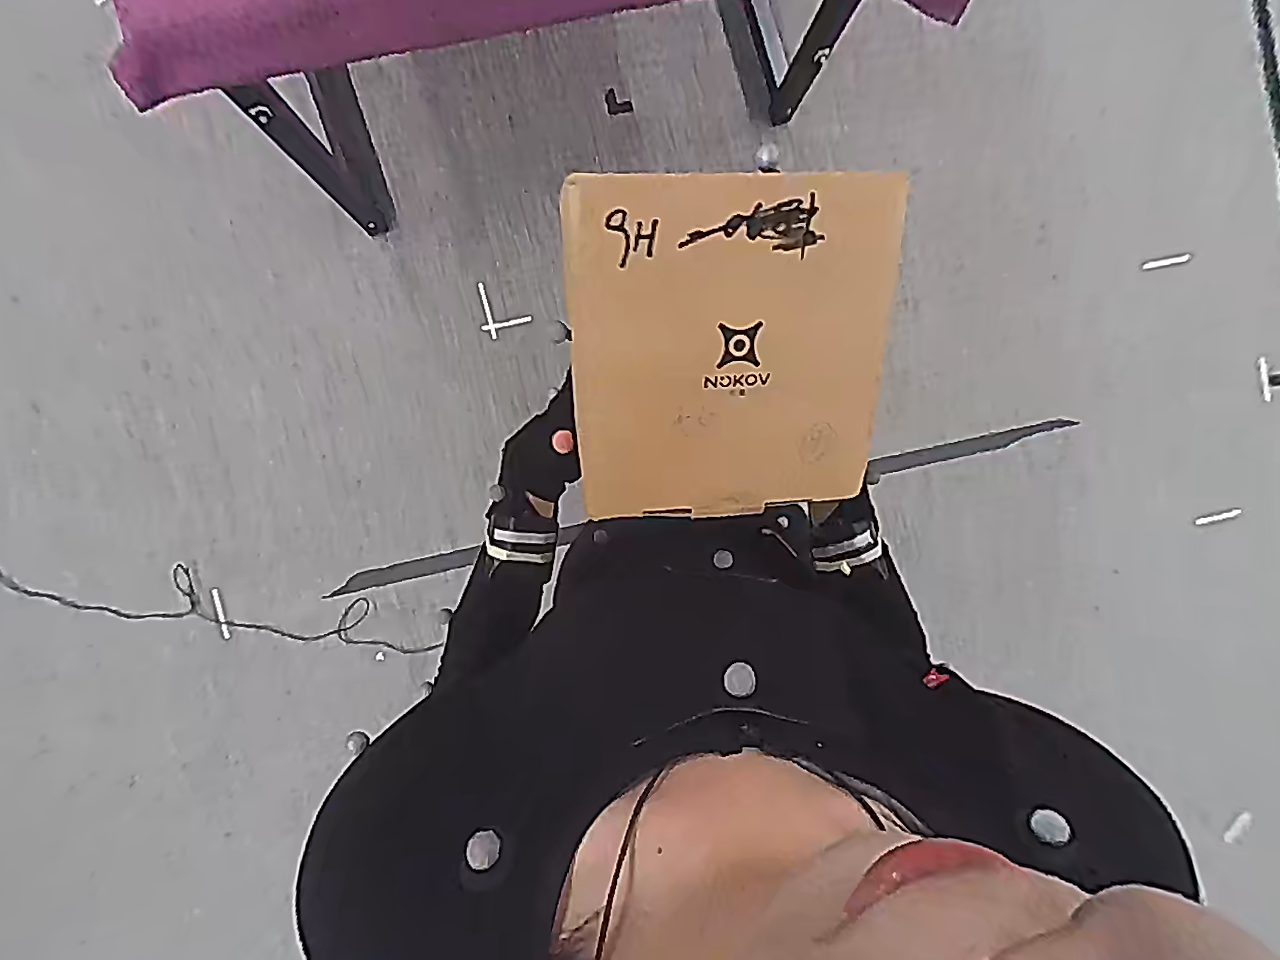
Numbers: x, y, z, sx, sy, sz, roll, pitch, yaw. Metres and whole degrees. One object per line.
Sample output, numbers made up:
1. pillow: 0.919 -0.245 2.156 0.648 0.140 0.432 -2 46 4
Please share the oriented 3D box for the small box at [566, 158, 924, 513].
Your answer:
1. small box: 0.041 -0.098 0.347 0.168 0.176 0.179 -5 116 -7
